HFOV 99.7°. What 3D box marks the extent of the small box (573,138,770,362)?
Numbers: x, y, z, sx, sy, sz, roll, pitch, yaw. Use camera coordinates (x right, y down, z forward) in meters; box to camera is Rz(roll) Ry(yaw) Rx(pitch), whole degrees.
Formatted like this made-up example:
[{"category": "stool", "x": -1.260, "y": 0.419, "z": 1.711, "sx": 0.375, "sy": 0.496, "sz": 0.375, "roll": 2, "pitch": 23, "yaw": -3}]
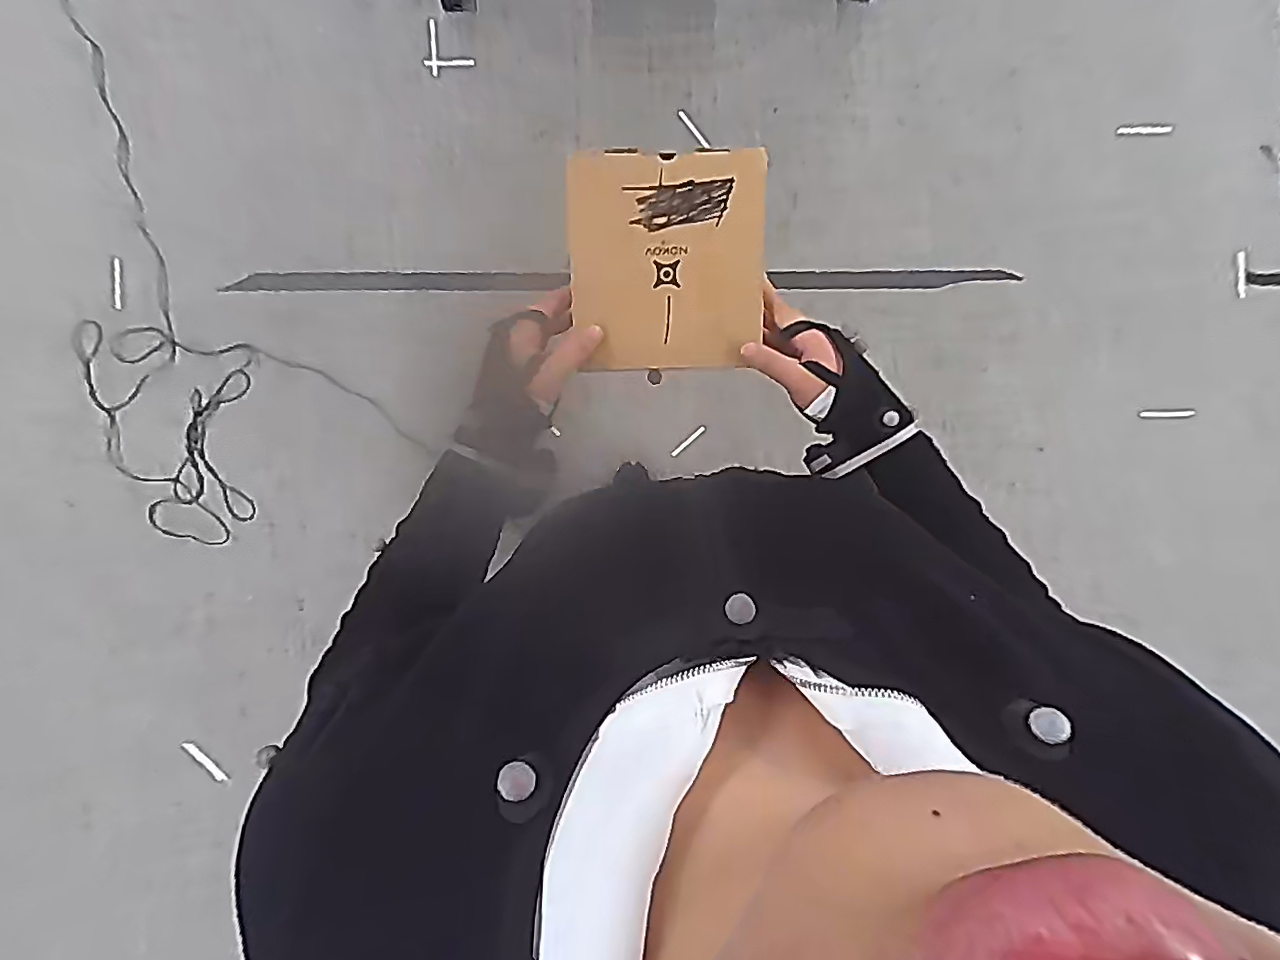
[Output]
[{"category": "small box", "x": 0.023, "y": -0.209, "z": 0.535, "sx": 0.168, "sy": 0.176, "sz": 0.179, "roll": -1, "pitch": 102, "yaw": -1}]
